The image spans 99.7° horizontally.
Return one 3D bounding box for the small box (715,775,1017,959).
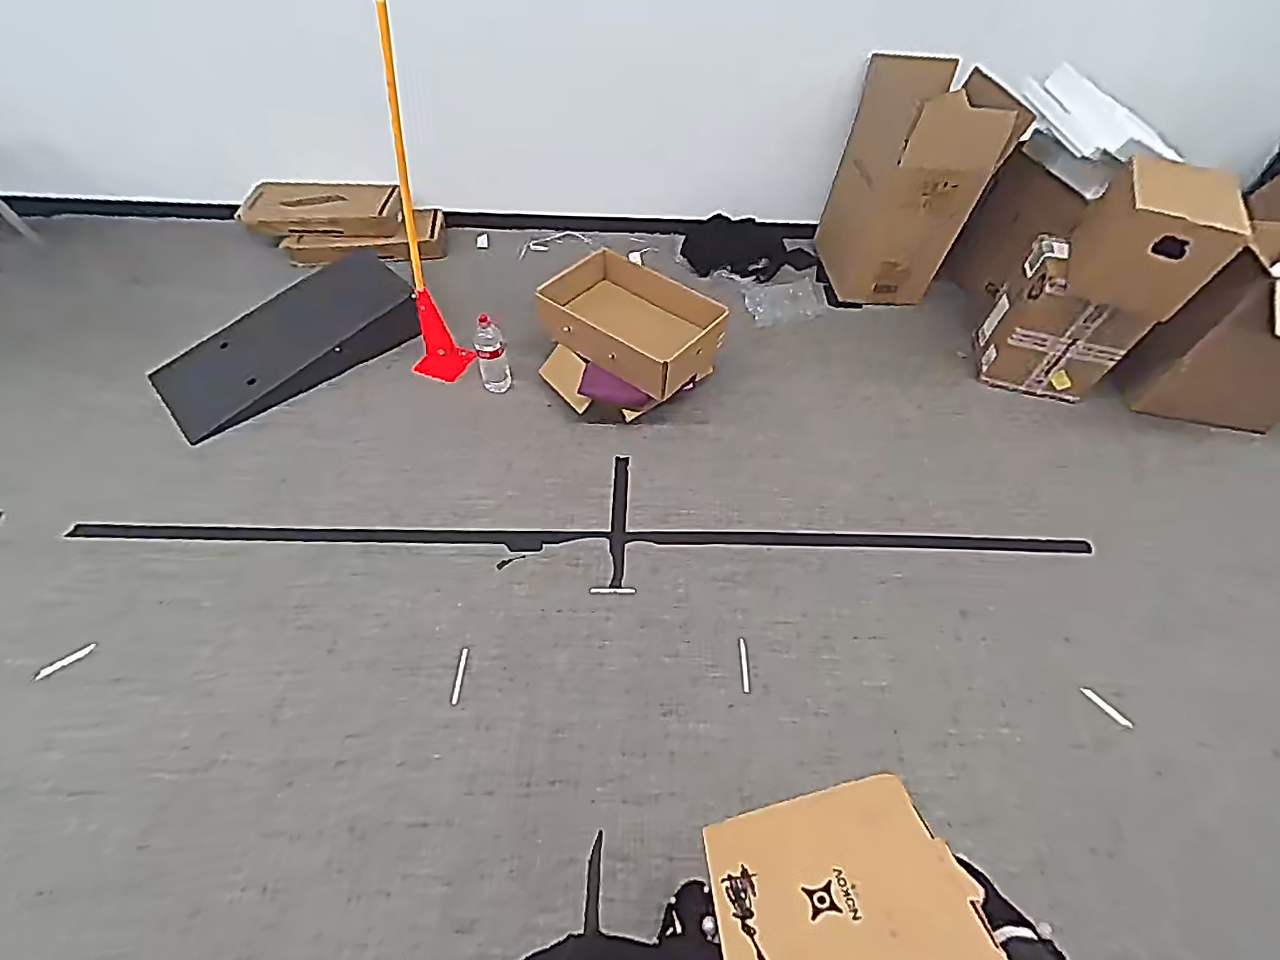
[{"bbox_3d":[0.174,0.379,0.424,0.179,0.176,0.168,-18,17,3],"label":"small box"}]
